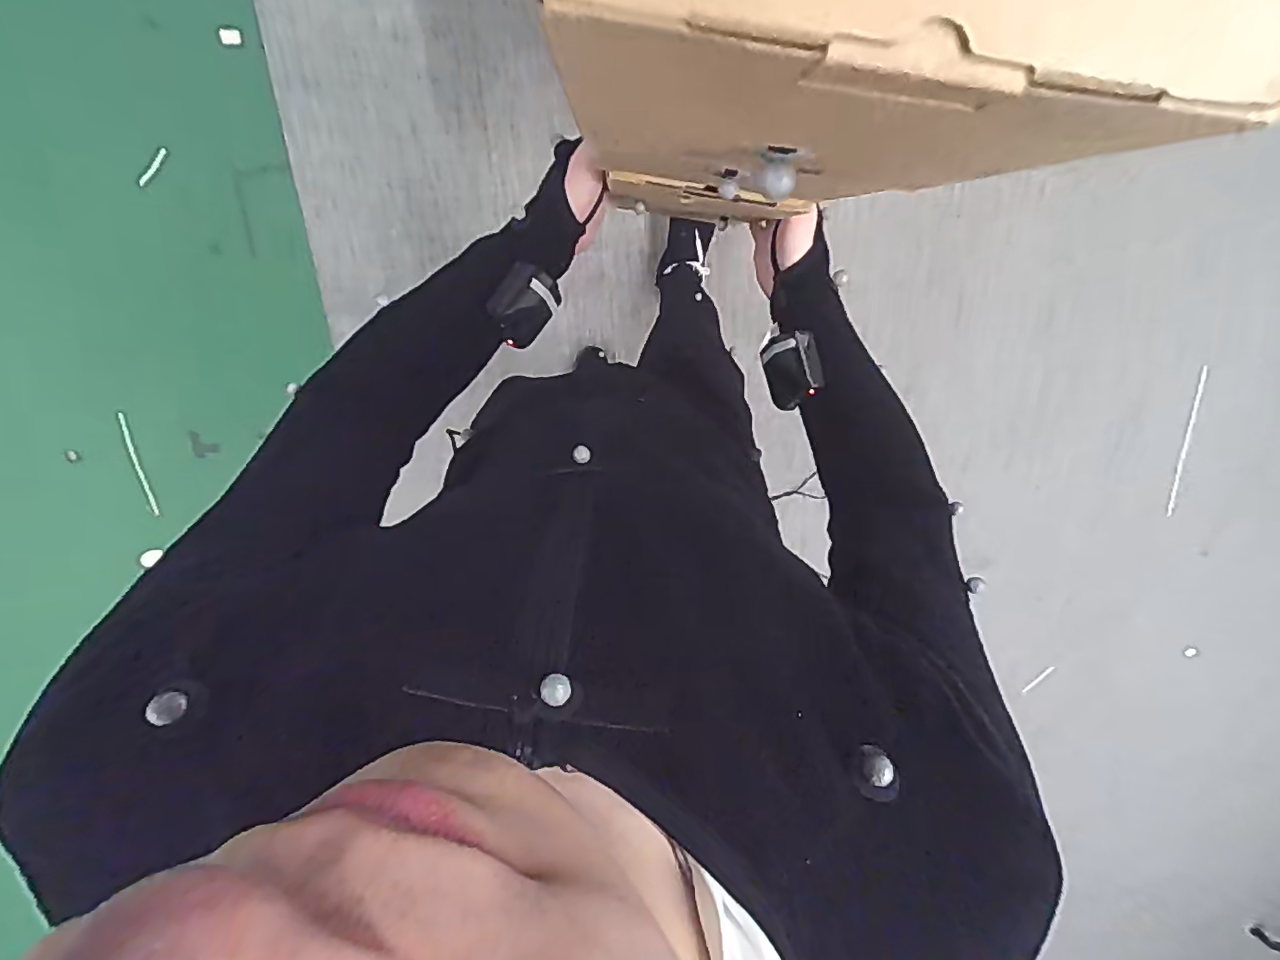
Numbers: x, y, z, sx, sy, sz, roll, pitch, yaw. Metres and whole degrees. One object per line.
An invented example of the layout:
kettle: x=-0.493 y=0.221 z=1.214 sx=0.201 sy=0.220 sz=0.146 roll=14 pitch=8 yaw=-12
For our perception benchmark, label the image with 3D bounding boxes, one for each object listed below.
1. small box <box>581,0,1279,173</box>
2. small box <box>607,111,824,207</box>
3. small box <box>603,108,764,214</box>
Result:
small box: x=0.071 y=-0.202 z=0.148 sx=0.168 sy=0.176 sz=0.179 roll=6 pitch=114 yaw=-4
small box: x=0.066 y=-0.337 z=0.449 sx=0.168 sy=0.176 sz=0.179 roll=7 pitch=113 yaw=-6
small box: x=0.055 y=-0.399 z=0.600 sx=0.179 sy=0.176 sz=0.168 roll=6 pitch=113 yaw=-6
